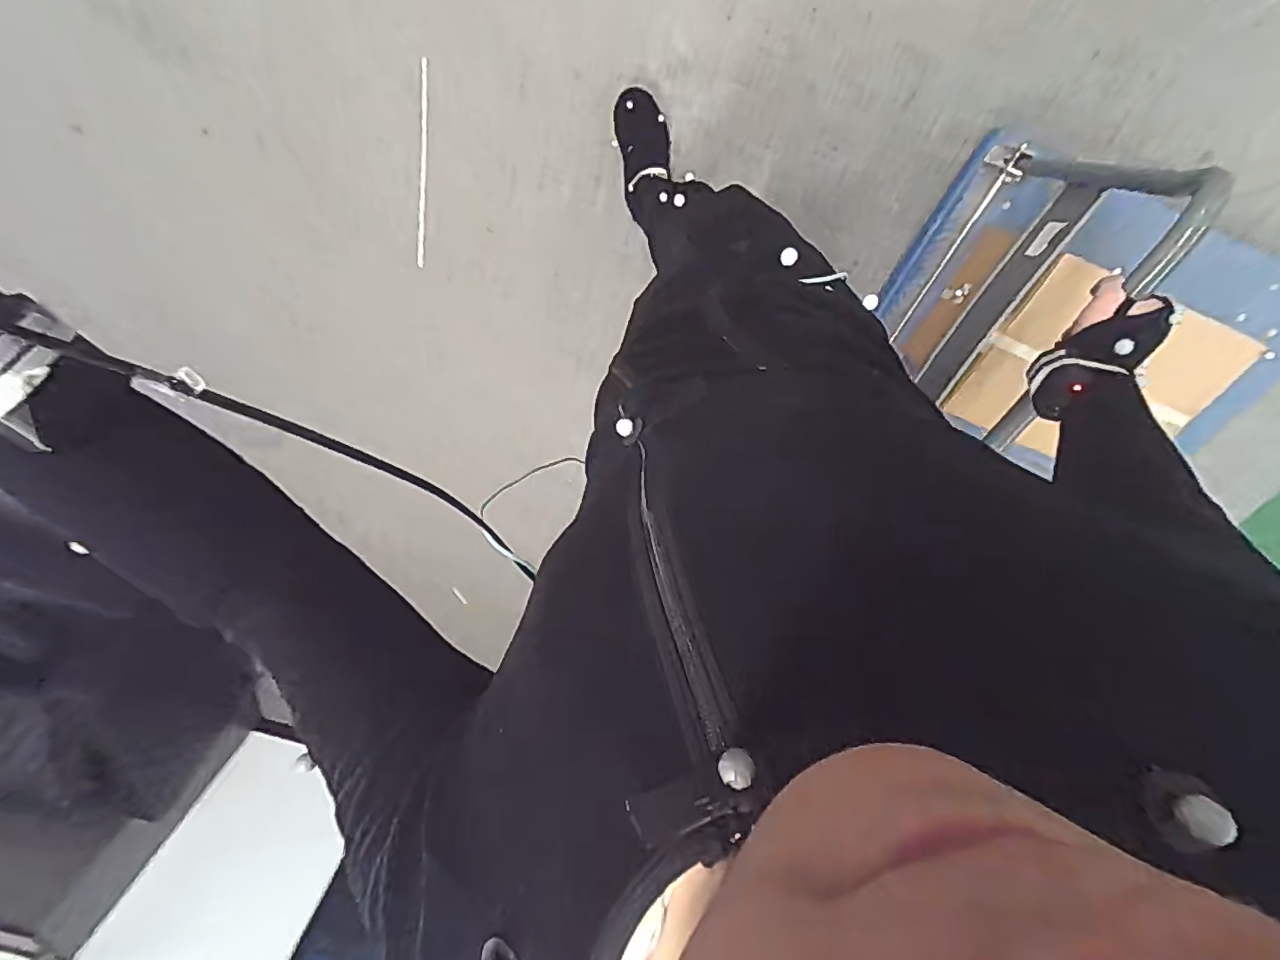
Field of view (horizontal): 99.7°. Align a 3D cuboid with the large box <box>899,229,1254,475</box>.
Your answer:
[{"bbox_3d":[0.833,-0.273,1.113,0.408,0.320,0.320,21,124,-5],"label":"large box"}]
